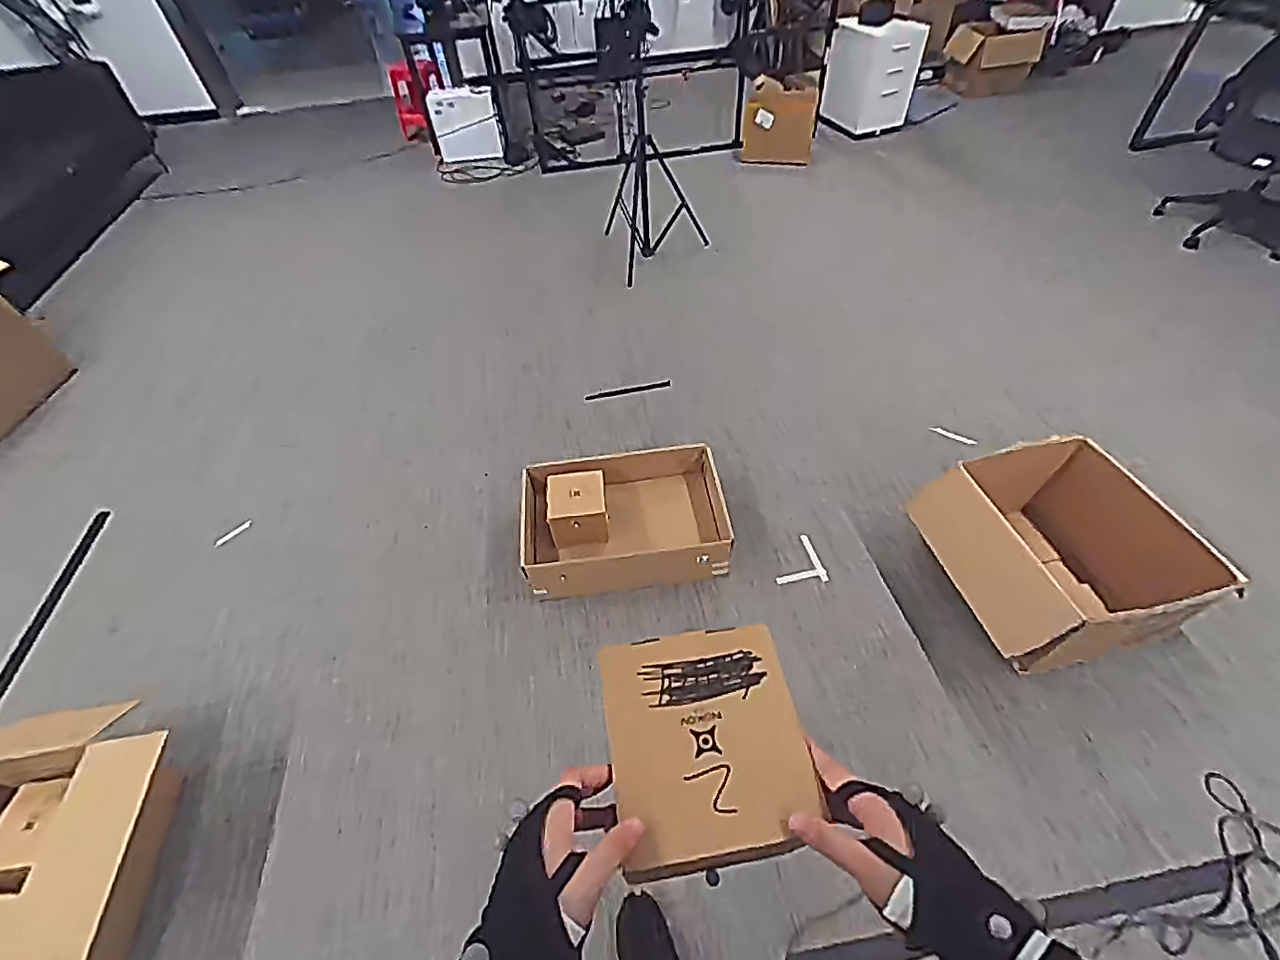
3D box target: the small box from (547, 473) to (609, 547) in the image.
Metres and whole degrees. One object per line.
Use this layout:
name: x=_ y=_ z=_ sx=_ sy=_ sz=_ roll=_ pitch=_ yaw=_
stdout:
small box: x=-0.196 y=0.101 z=1.723 sx=0.179 sy=0.176 sz=0.168 roll=-6 pitch=52 yaw=-3
